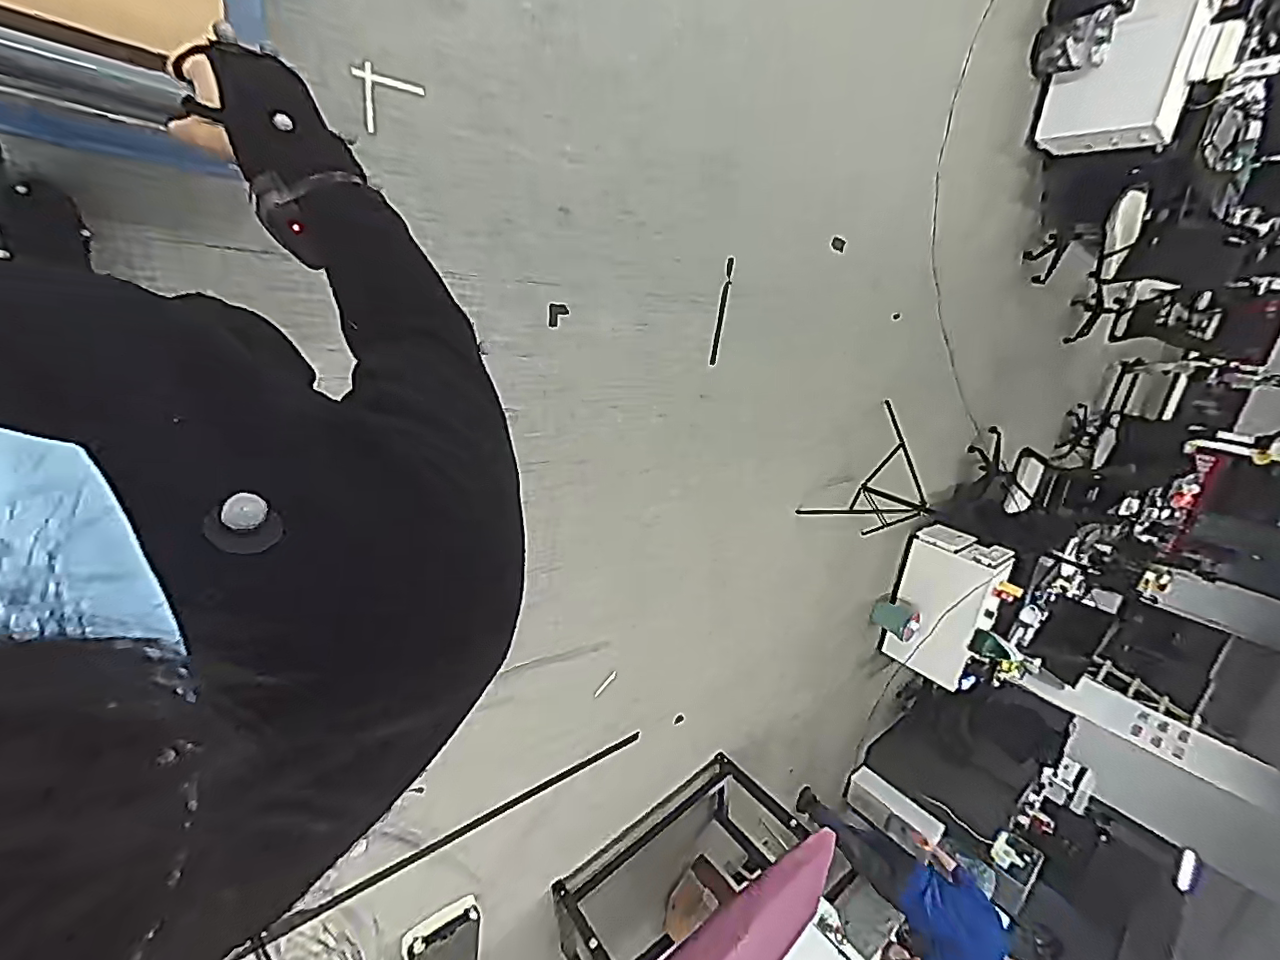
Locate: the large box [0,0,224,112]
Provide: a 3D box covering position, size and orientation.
[{"bbox_3d":[-0.775,-0.697,0.640,0.408,0.320,0.320,-7,114,-41],"label":"large box"}]
